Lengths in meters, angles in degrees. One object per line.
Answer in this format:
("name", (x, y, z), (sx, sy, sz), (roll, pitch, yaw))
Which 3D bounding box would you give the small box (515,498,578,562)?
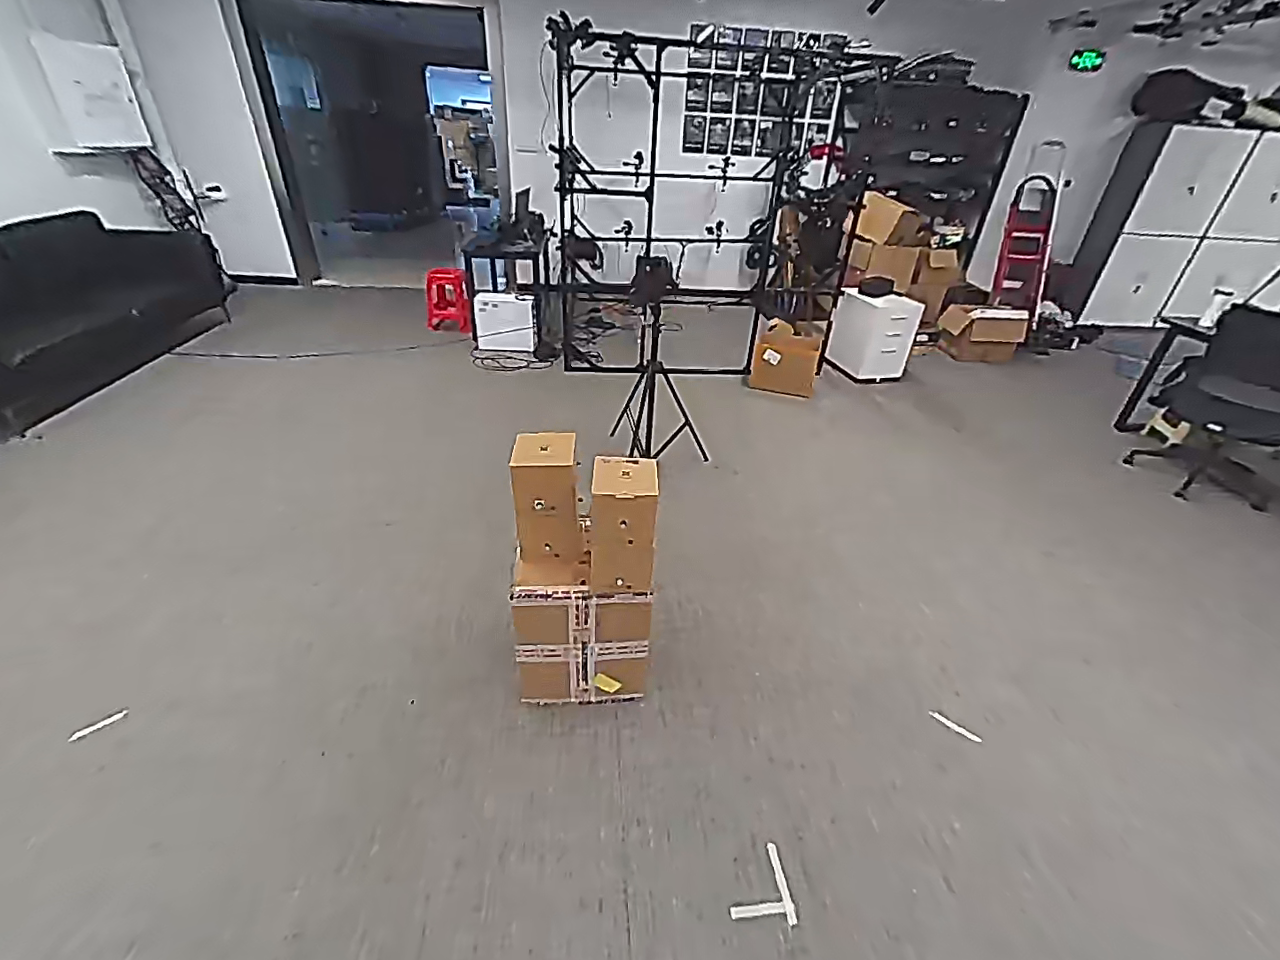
("small box", (-0.271, 0.124, 1.607), (0.168, 0.176, 0.179), (-1, 34, -4))

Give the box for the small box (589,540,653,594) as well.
("small box", (-0.058, 0.199, 1.516), (0.168, 0.176, 0.179), (1, 35, -5))

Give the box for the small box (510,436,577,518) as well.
("small box", (-0.264, -0.010, 1.515), (0.168, 0.176, 0.179), (-1, 35, -4))

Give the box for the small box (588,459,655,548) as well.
("small box", (-0.048, 0.063, 1.425), (0.168, 0.176, 0.179), (3, 35, -2))
